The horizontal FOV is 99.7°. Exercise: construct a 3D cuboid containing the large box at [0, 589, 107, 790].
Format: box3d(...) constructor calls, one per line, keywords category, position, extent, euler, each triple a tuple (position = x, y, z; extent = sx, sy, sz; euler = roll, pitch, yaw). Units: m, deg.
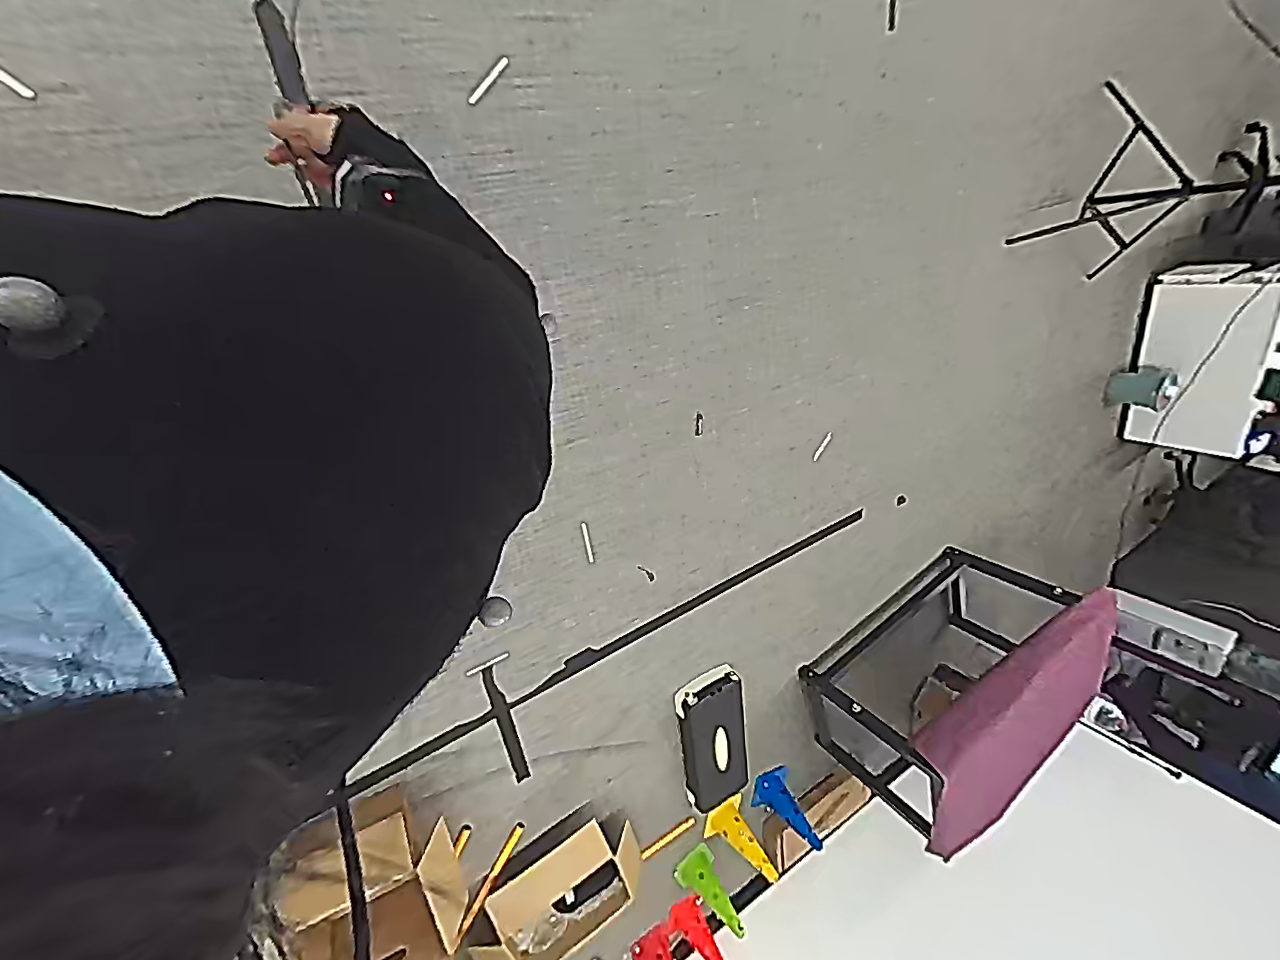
box3d(category="large box", position=(-1.171, 0.331, 0.806), extent=(0.320, 0.320, 0.408), euler=(-42, 122, -14))
